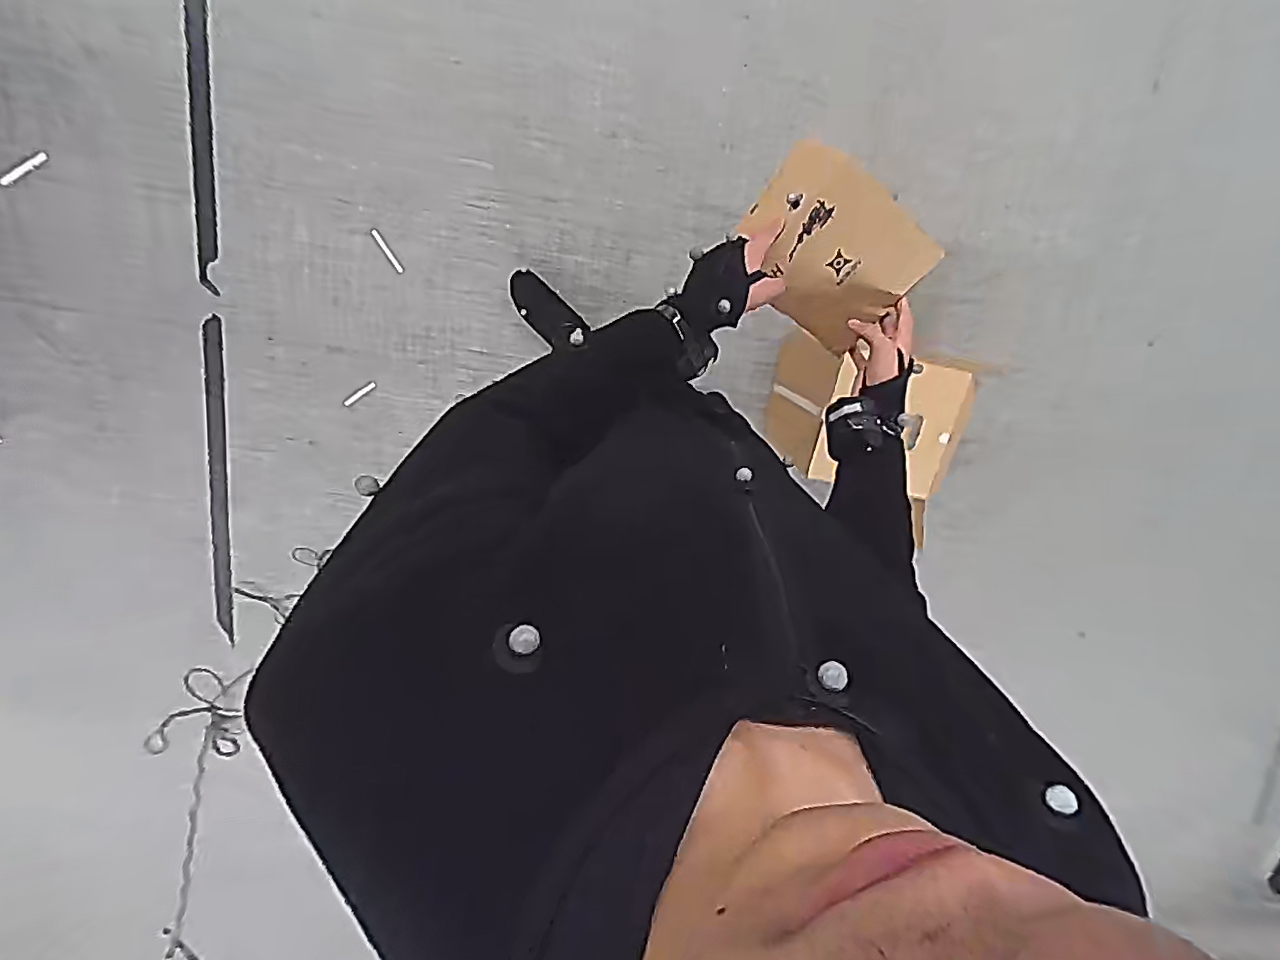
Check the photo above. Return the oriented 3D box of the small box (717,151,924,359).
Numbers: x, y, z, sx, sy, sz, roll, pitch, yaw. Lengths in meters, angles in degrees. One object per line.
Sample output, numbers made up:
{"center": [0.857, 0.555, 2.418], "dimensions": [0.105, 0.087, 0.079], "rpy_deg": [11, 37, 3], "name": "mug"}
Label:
{"center": [0.224, -0.300, 0.713], "dimensions": [0.179, 0.176, 0.168], "rpy_deg": [29, 123, -22], "name": "small box"}
